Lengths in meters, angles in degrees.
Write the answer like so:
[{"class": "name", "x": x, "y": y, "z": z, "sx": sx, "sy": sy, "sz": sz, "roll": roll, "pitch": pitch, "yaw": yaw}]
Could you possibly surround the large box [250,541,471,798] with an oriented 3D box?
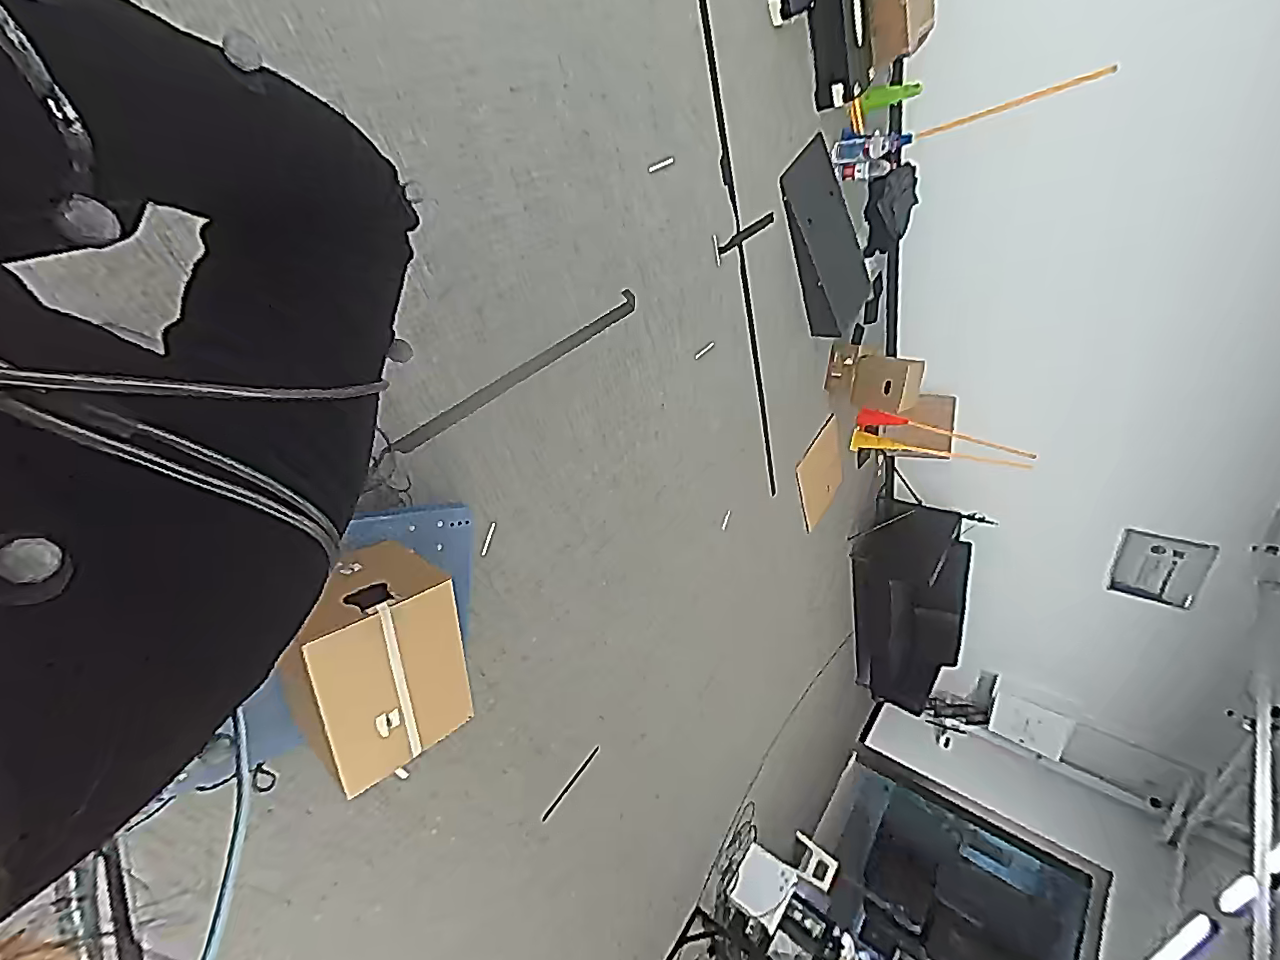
[{"class": "large box", "x": -0.640, "y": 0.413, "z": 1.264, "sx": 0.320, "sy": 0.320, "sz": 0.408, "roll": -22, "pitch": 120, "yaw": -44}]
